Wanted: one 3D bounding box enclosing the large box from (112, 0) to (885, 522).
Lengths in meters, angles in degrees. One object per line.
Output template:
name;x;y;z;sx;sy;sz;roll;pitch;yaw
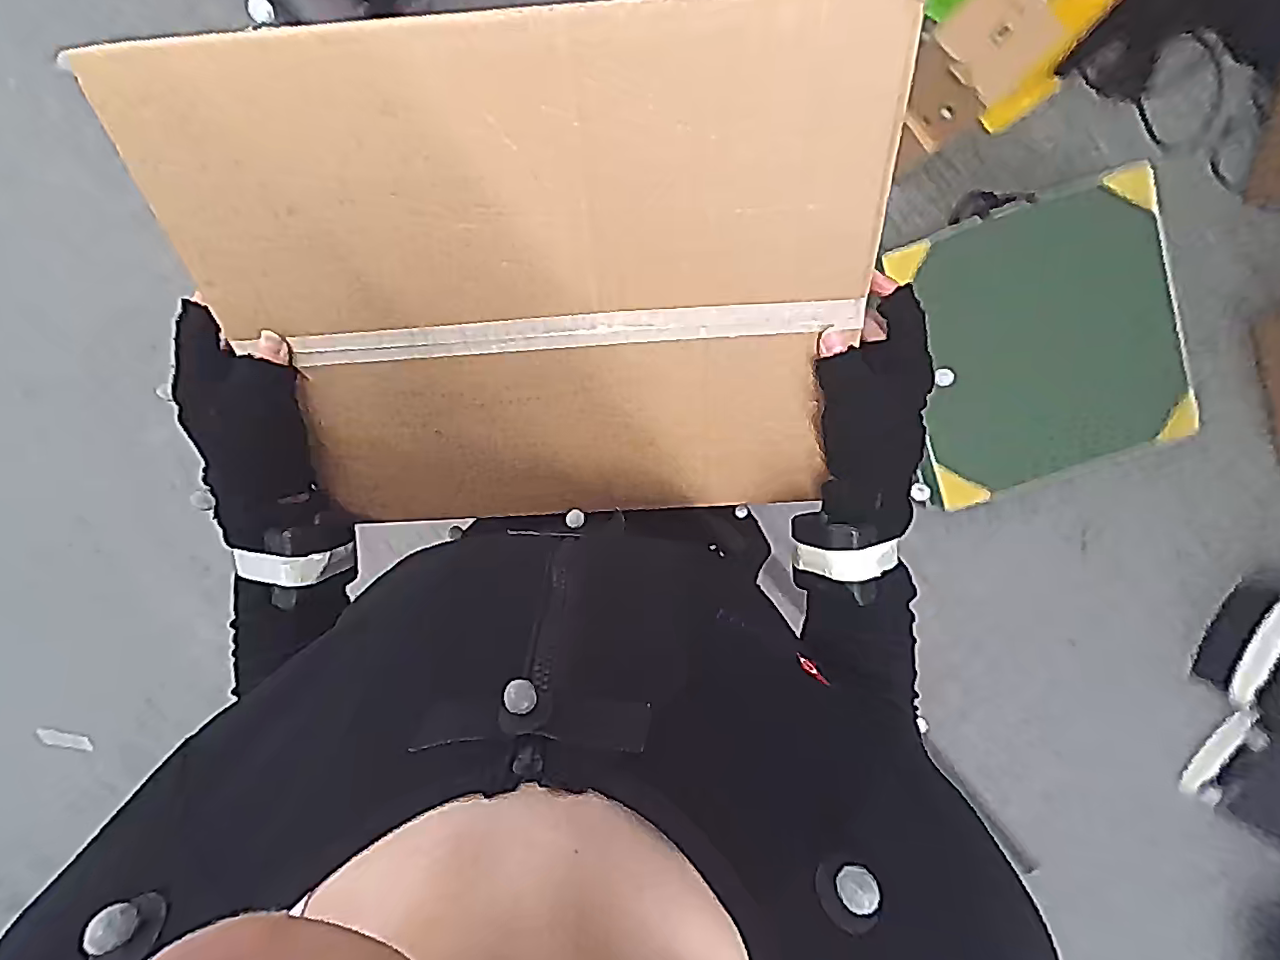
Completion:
large box;-0.069;-0.192;0.476;0.408;0.320;0.320;-5;130;2
